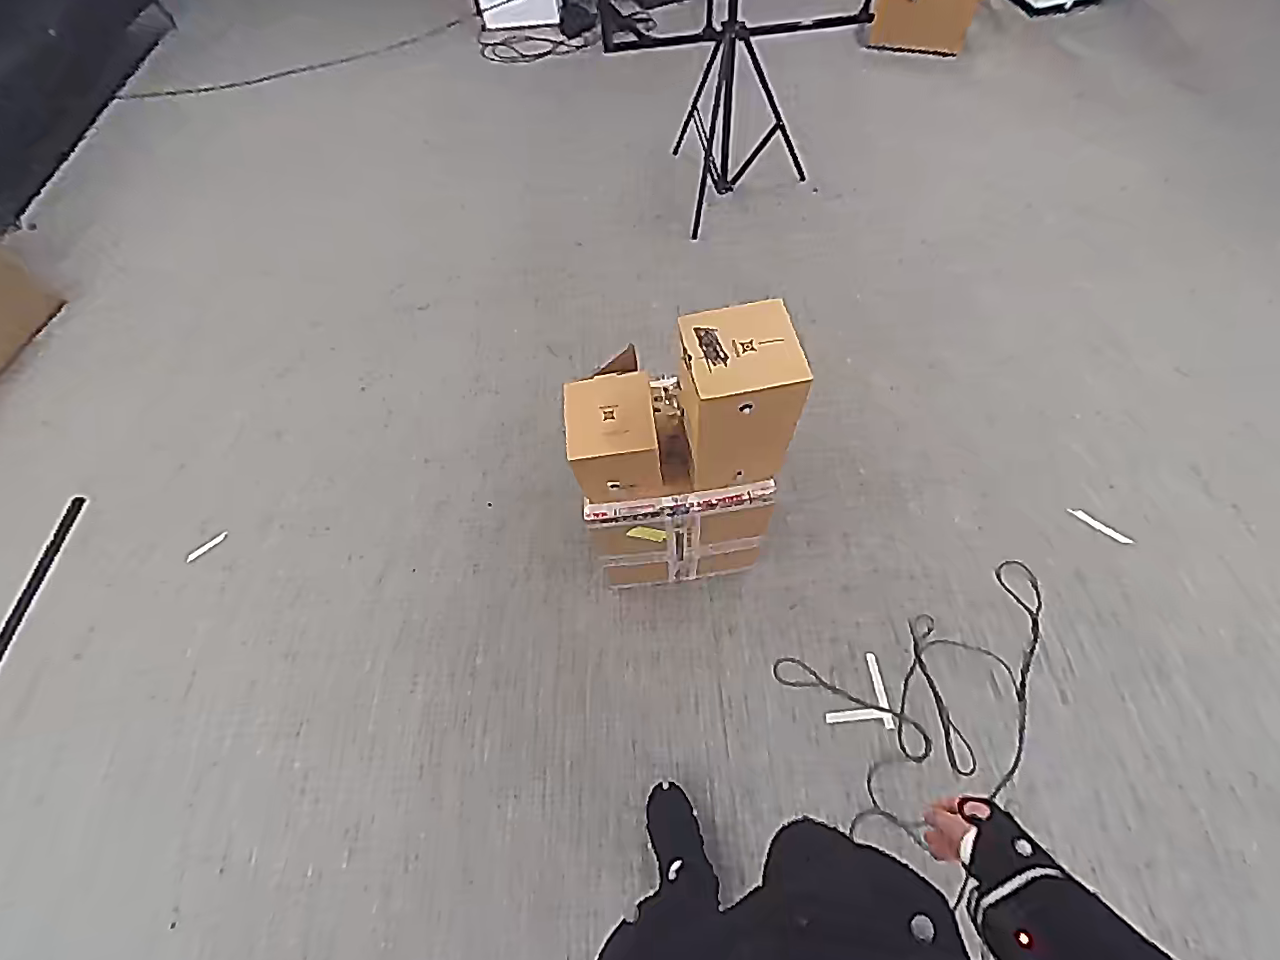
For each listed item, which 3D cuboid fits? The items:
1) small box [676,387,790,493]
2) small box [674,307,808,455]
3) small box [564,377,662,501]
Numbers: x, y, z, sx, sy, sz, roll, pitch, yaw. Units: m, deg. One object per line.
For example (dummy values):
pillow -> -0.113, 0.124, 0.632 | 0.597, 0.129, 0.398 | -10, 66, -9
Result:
small box -> 0.172, -0.091, 1.062 | 0.179, 0.176, 0.168 | -11, 64, -2
small box -> 0.160, -0.159, 0.911 | 0.179, 0.176, 0.168 | -11, 64, -2
small box -> -0.050, -0.077, 1.073 | 0.168, 0.176, 0.179 | -9, 65, 3
